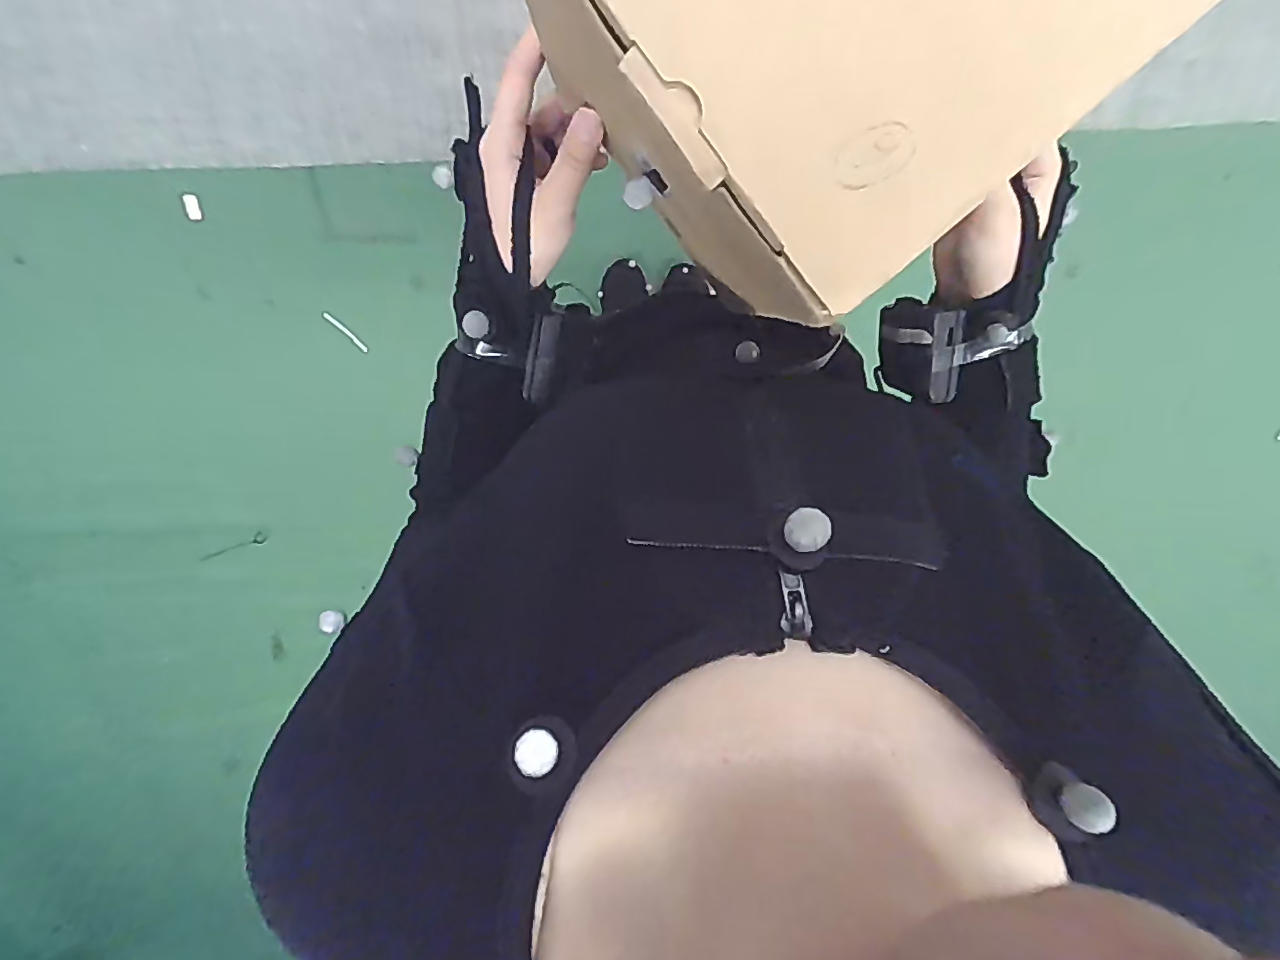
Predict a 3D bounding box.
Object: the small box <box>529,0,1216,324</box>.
[{"bbox_3d":[0.070,-0.187,0.225,0.179,0.176,0.168,-40,105,12],"label":"small box"}]
